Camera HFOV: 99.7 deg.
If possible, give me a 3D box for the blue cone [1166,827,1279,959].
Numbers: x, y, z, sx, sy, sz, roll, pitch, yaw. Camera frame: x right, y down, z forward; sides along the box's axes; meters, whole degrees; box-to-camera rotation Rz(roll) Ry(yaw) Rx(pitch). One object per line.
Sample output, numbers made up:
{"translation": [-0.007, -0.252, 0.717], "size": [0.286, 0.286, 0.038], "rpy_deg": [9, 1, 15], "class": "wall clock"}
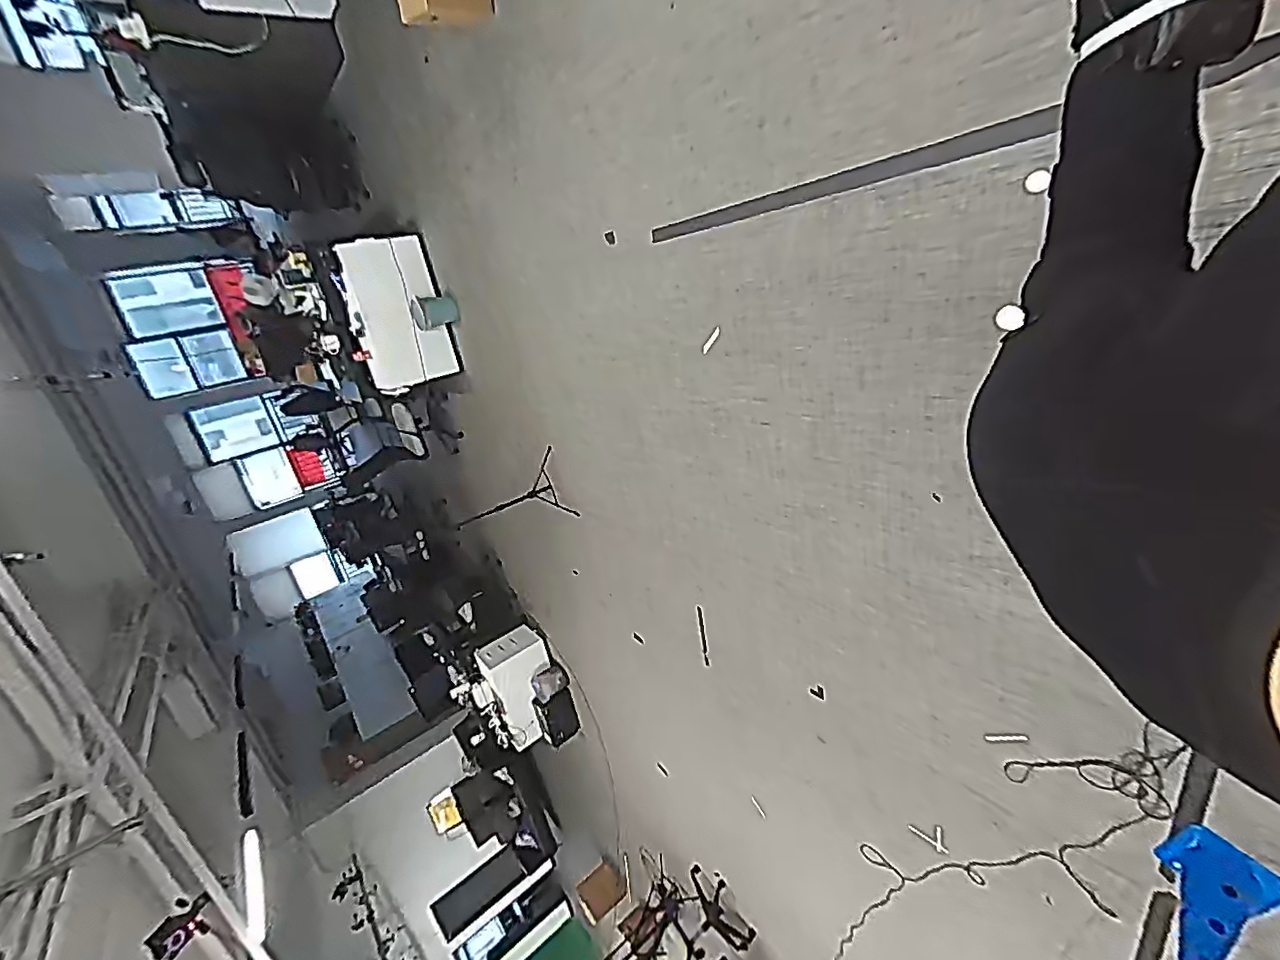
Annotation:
{"translation": [1.359, 1.046, 1.278], "size": [0.193, 0.380, 0.192], "rpy_deg": [38, 139, 37], "class": "blue cone"}
